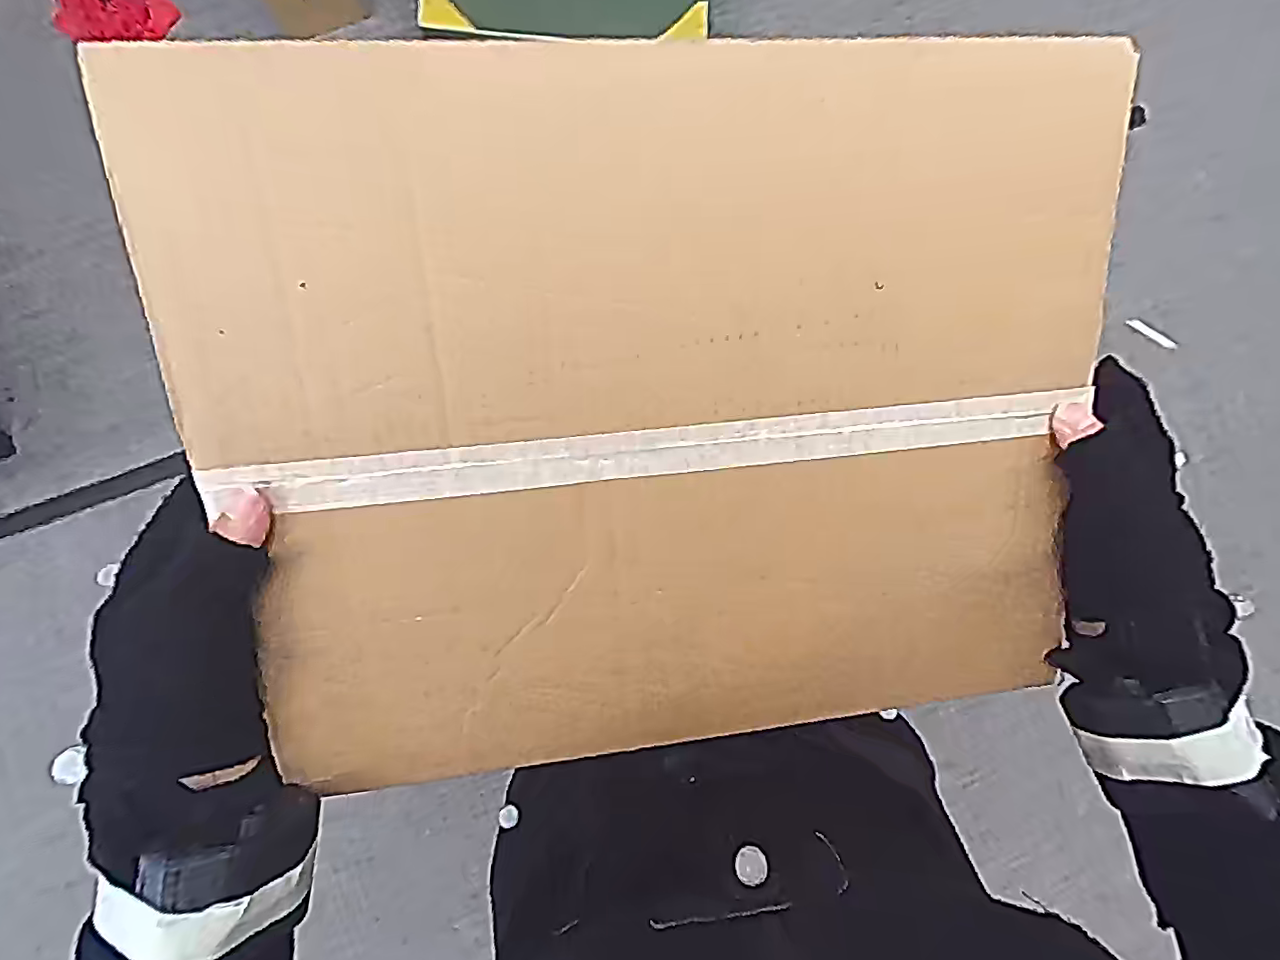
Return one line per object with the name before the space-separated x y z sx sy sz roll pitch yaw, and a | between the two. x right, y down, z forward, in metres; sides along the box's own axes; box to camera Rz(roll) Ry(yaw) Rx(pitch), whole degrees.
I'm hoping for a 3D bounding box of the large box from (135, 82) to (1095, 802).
large box | 0.002 -0.043 0.401 0.408 0.320 0.320 -7 104 -7
